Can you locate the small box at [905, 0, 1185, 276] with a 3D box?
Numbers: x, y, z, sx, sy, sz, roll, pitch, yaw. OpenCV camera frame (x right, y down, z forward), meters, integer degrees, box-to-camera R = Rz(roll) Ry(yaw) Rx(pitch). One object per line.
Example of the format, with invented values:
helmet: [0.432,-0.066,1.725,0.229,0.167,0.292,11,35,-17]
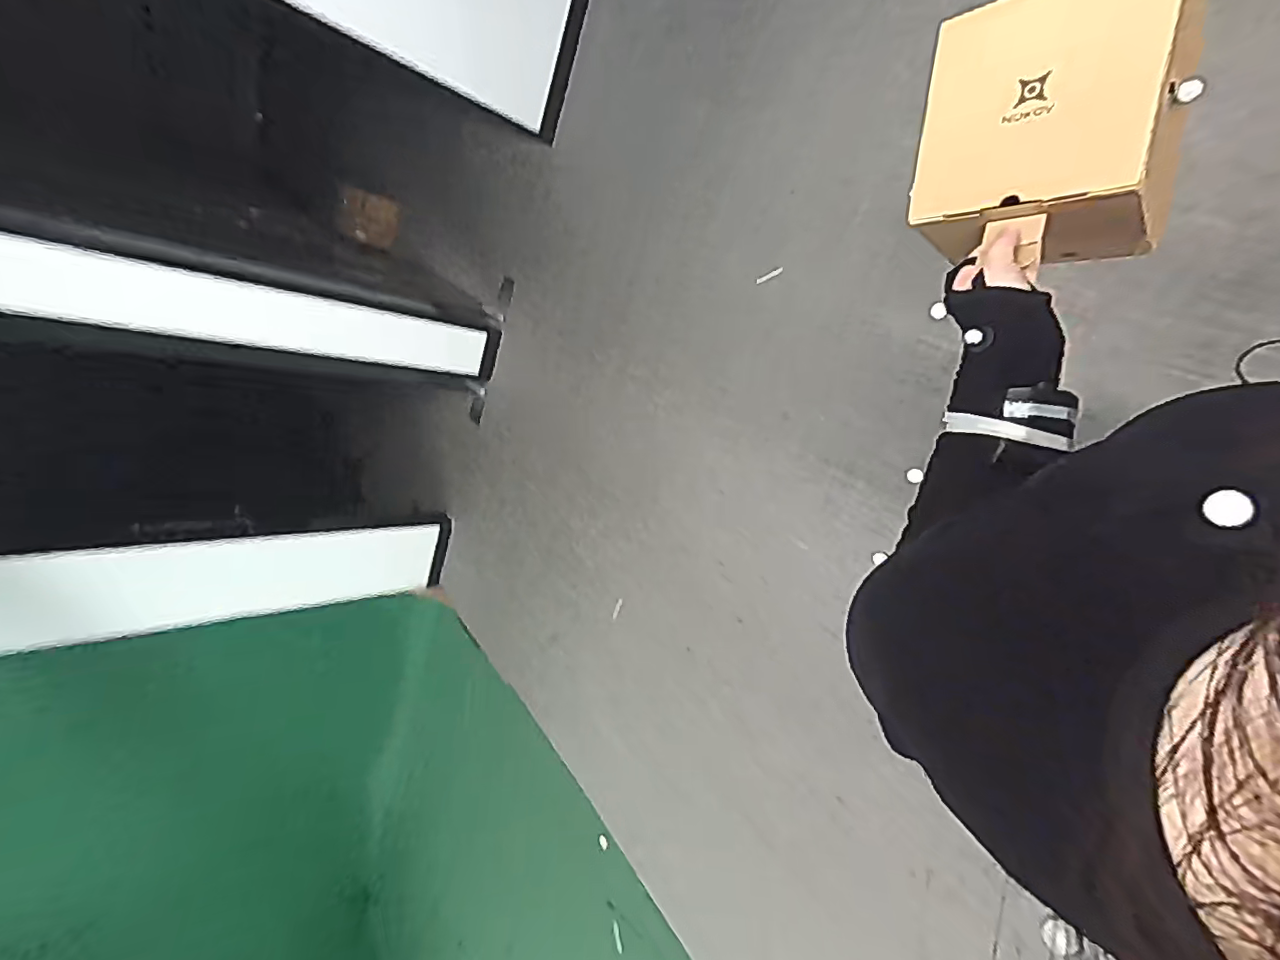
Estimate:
small box: [0.373,-0.307,0.503,0.168,0.176,0.179,13,100,43]
